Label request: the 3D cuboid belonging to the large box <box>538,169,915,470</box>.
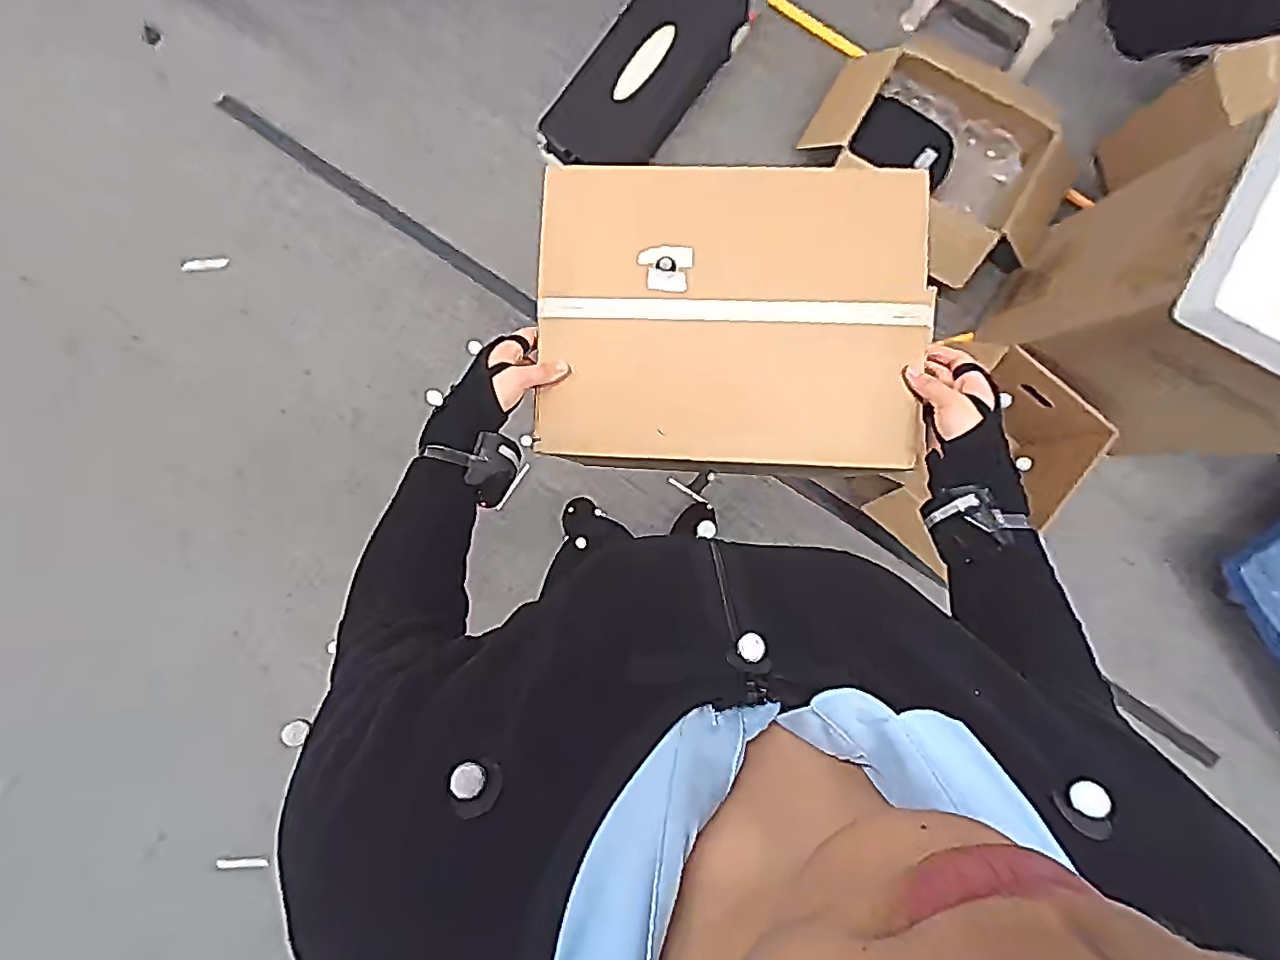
[{"bbox_3d":[0.103,-0.172,0.727,0.408,0.320,0.320,2,87,5],"label":"large box"}]
